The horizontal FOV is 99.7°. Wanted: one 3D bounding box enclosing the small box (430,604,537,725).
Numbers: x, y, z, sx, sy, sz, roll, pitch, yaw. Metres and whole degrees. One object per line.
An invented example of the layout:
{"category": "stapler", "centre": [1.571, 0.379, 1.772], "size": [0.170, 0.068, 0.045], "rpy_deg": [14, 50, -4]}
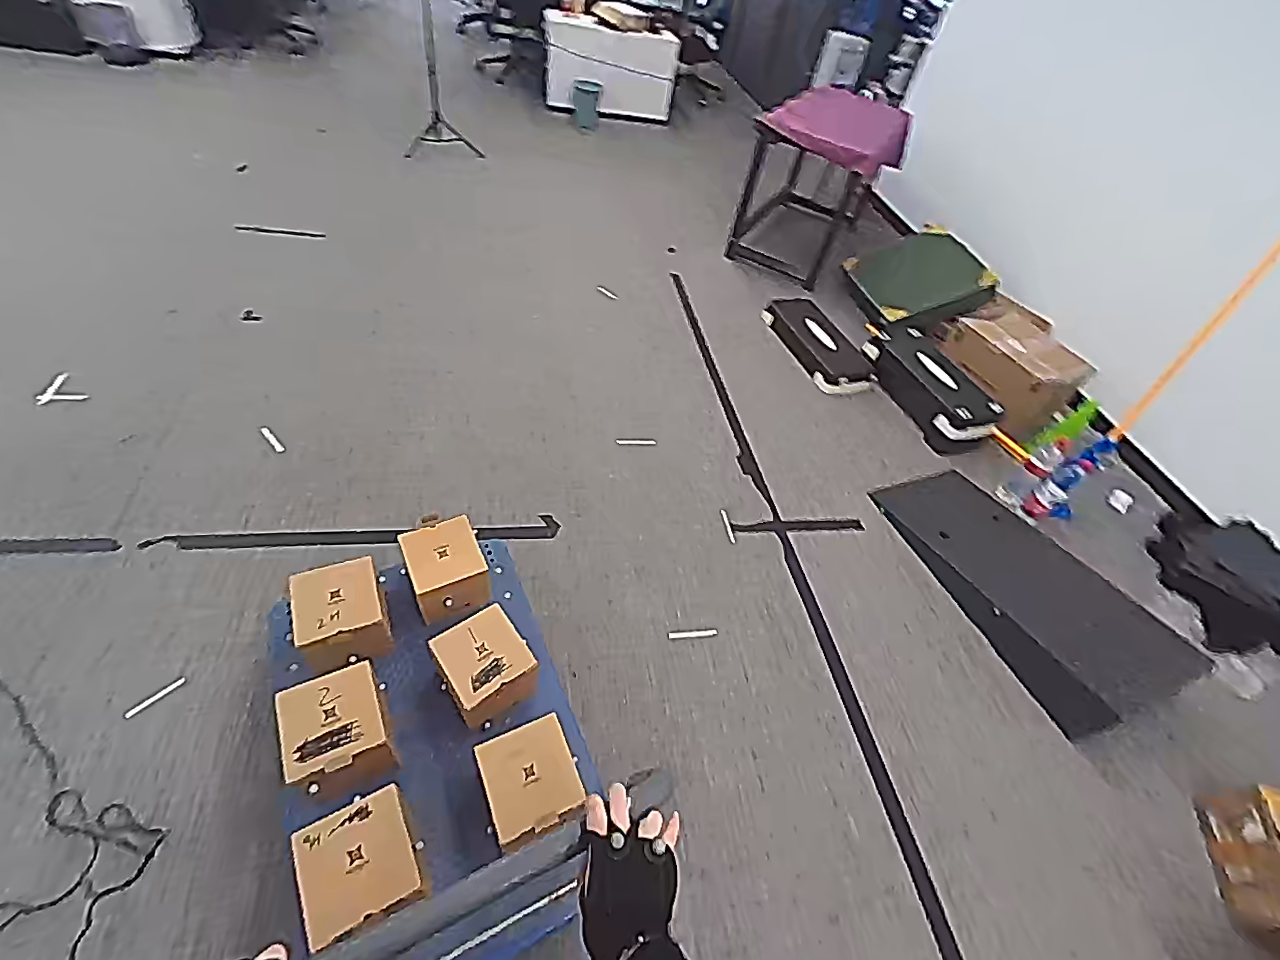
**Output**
{"category": "small box", "centre": [-0.342, 0.416, 1.202], "size": [0.168, 0.176, 0.179], "rpy_deg": [-27, 59, -31]}

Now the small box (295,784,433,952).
{"category": "small box", "centre": [-0.475, 0.675, 0.947], "size": [0.168, 0.176, 0.179], "rpy_deg": [-18, 56, -27]}

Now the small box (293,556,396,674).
{"category": "small box", "centre": [-0.664, 0.306, 1.223], "size": [0.168, 0.176, 0.179], "rpy_deg": [-14, 55, -23]}

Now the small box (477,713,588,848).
{"category": "small box", "centre": [-0.215, 0.600, 1.073], "size": [0.168, 0.176, 0.179], "rpy_deg": [-15, 54, -24]}

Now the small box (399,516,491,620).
{"category": "small box", "centre": [-0.477, 0.224, 1.339], "size": [0.168, 0.176, 0.179], "rpy_deg": [-18, 56, -26]}
